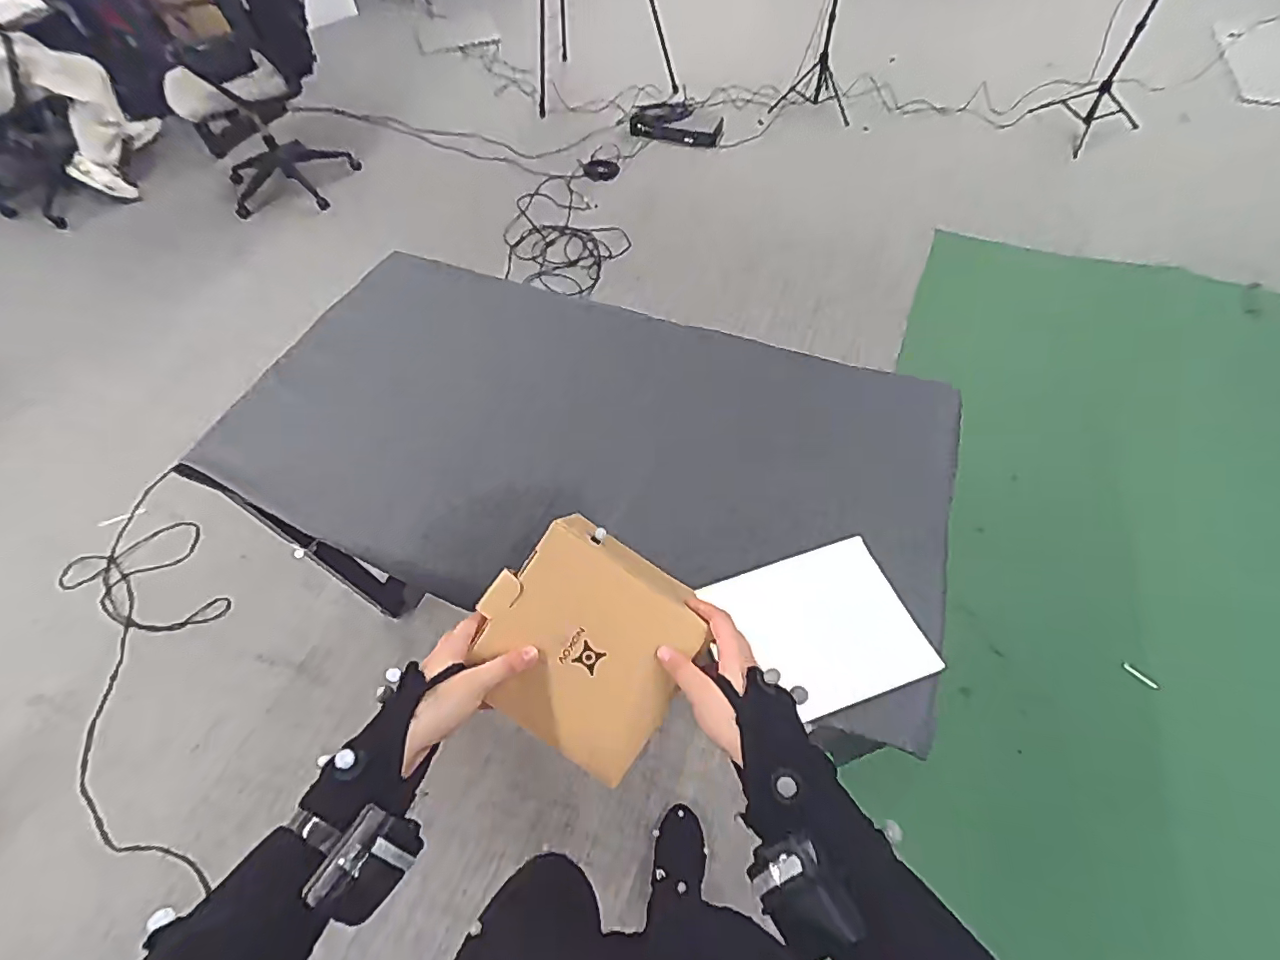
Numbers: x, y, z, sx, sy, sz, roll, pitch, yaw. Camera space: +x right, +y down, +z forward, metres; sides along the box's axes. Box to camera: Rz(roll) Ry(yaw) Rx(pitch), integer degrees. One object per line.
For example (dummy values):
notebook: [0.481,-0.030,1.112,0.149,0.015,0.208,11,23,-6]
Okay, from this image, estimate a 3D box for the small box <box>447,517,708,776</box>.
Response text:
small box: [-0.053,0.147,0.552,0.179,0.176,0.168,33,89,2]
